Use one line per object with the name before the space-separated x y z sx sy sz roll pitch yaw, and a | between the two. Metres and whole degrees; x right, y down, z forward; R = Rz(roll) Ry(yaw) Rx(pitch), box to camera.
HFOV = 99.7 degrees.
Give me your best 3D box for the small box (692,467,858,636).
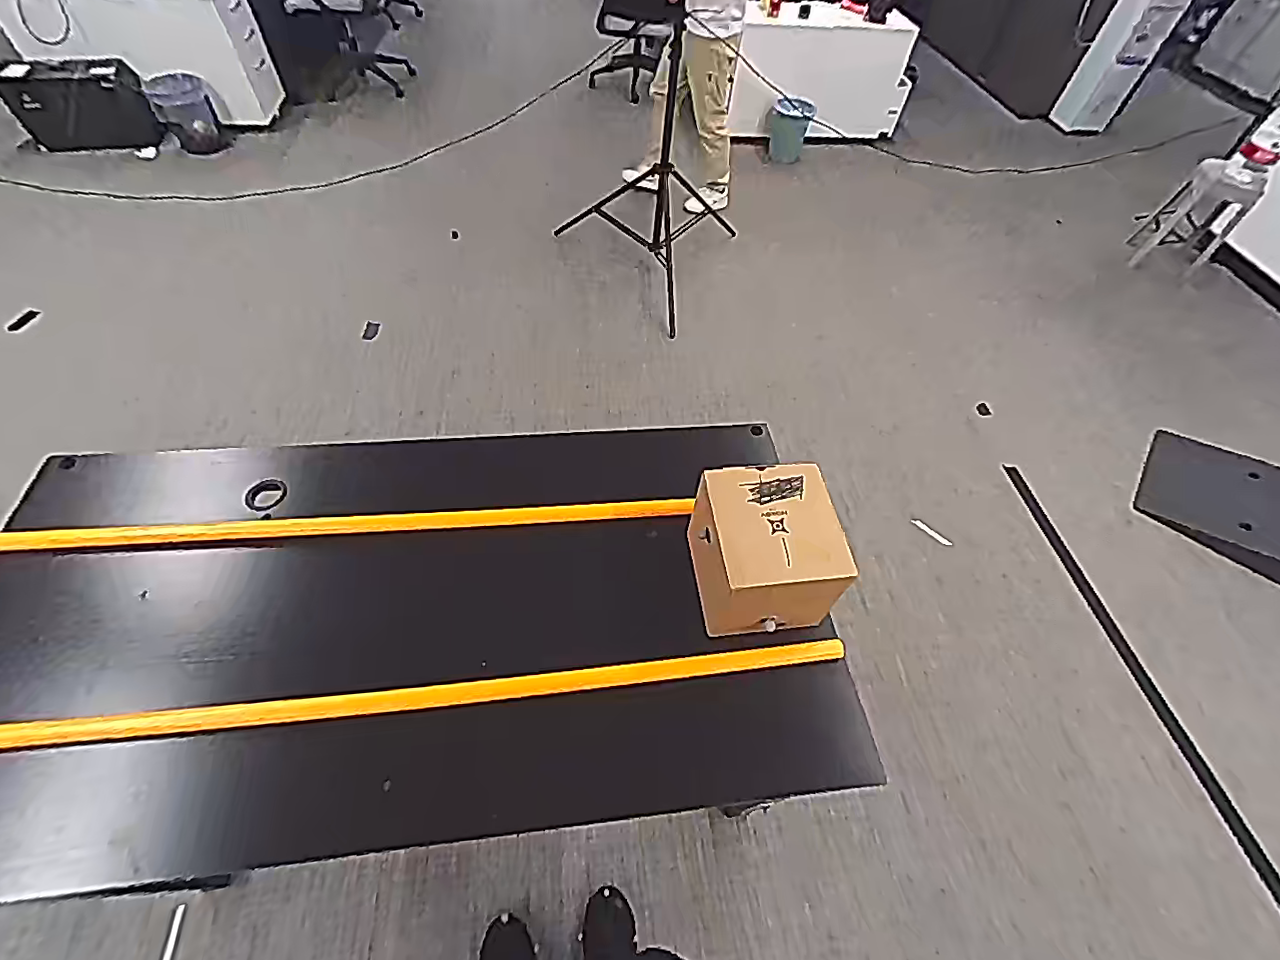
small box | 0.175 0.103 0.769 0.168 0.176 0.179 -4 55 -6
